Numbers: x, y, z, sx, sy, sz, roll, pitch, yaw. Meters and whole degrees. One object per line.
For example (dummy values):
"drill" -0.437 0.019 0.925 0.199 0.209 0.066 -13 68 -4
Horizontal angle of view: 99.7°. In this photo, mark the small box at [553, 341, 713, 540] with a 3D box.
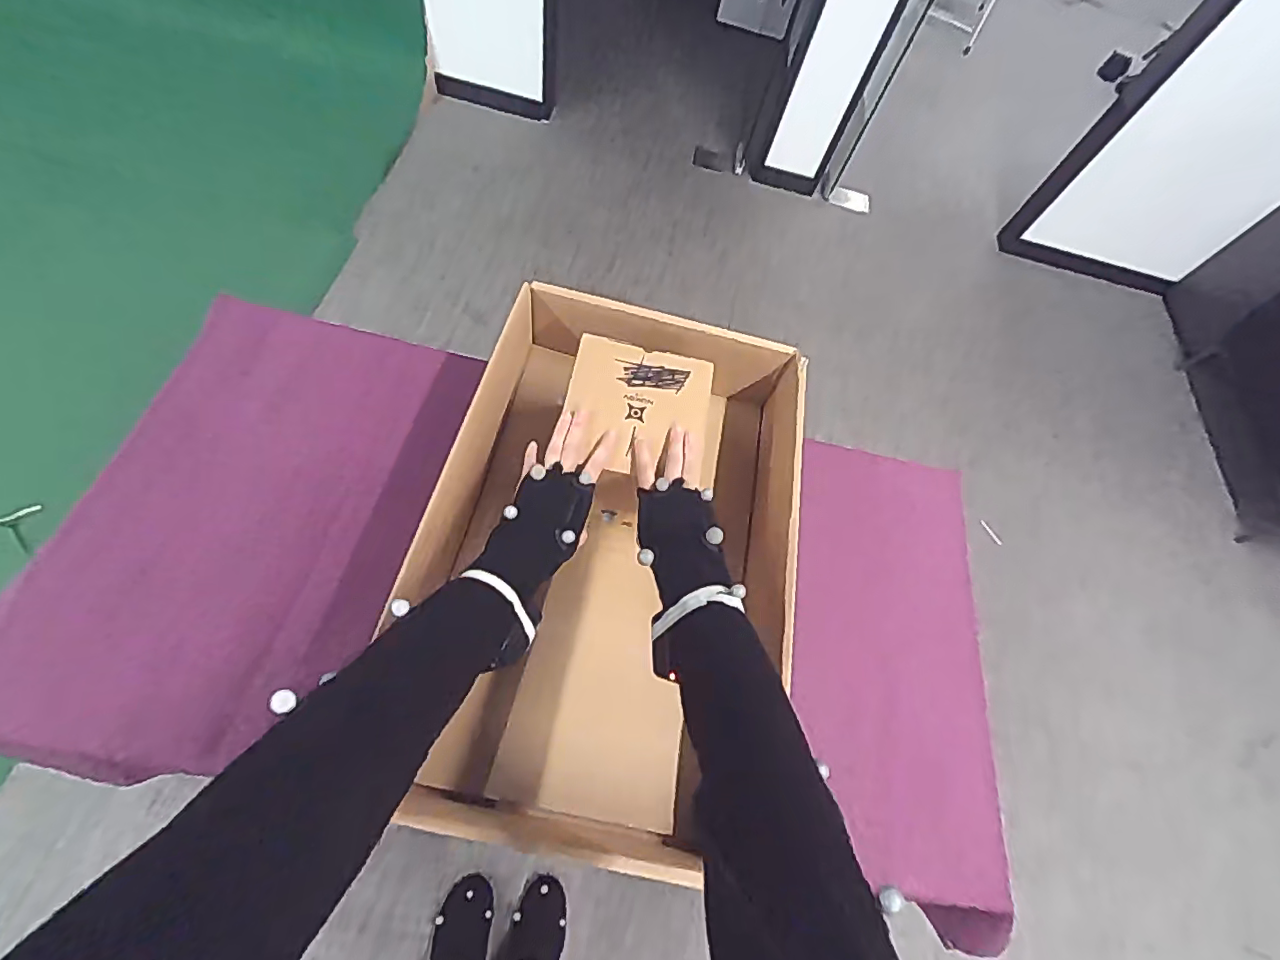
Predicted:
"small box" -0.015 -0.042 0.691 0.168 0.176 0.179 12 64 -4
